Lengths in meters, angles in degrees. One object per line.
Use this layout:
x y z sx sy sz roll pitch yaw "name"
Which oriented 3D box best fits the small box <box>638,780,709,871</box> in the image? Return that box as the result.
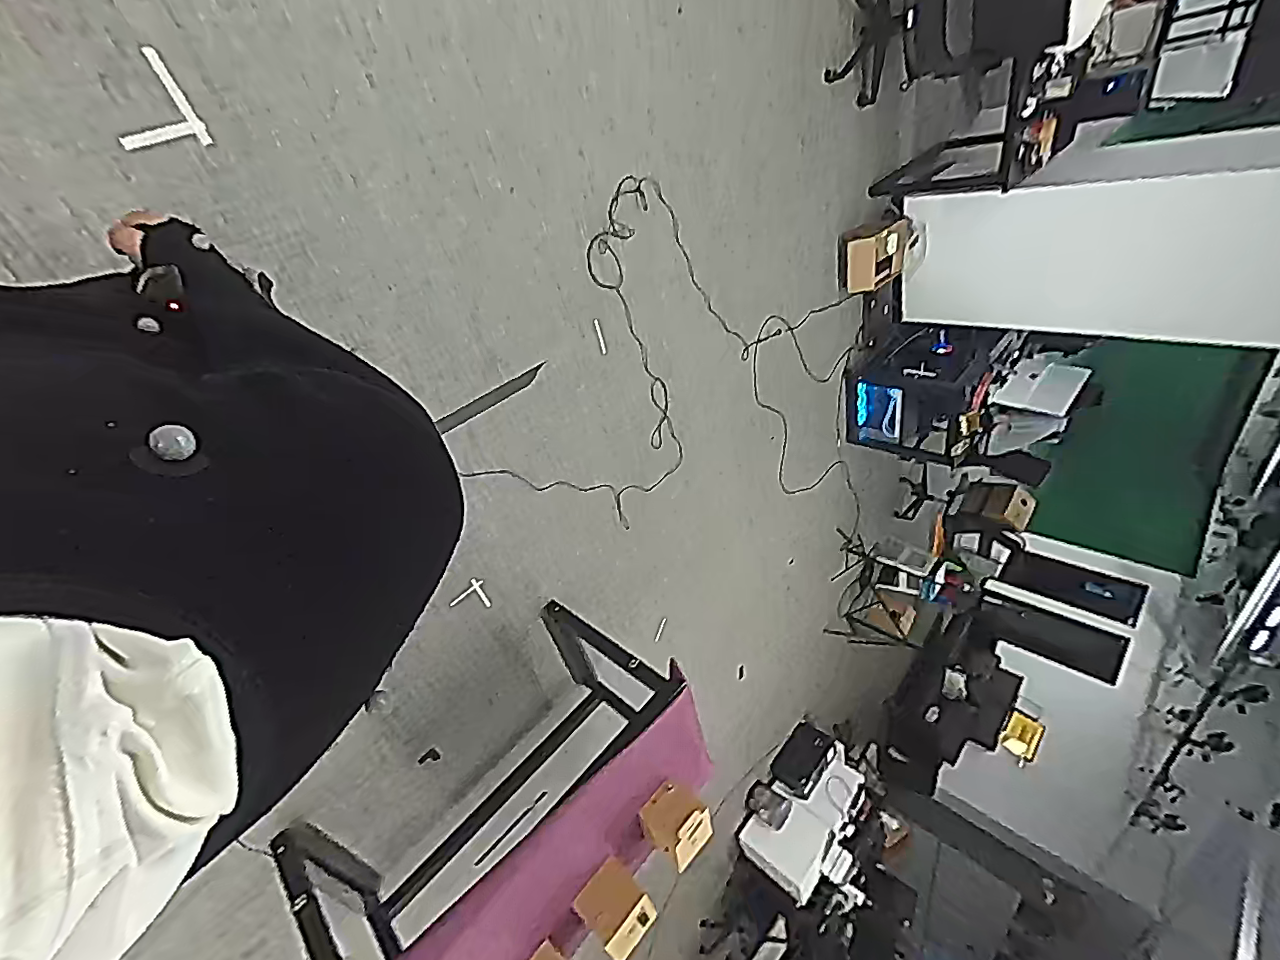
0.112 1.163 1.840 0.168 0.176 0.179 -33 127 -33 "small box"
